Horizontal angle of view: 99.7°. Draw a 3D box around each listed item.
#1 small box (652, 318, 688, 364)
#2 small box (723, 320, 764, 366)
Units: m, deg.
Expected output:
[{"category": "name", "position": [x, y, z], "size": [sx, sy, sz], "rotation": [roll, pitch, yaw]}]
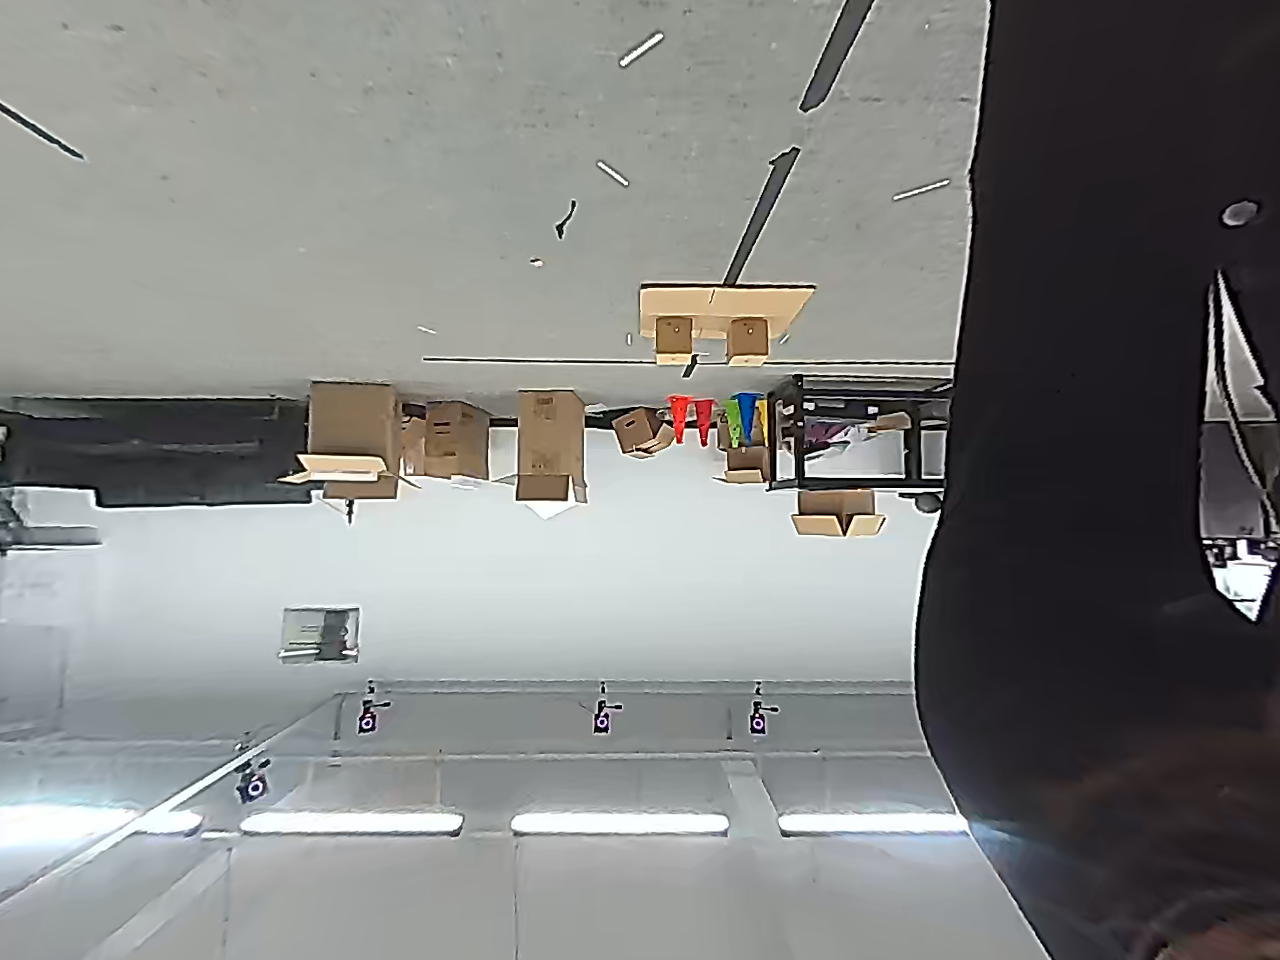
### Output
[{"category": "small box", "position": [0.142, -0.653, 2.542], "size": [0.168, 0.176, 0.179], "rotation": [0, 176, 4]}, {"category": "small box", "position": [0.485, -0.643, 2.546], "size": [0.168, 0.176, 0.179], "rotation": [0, 176, 0]}]
